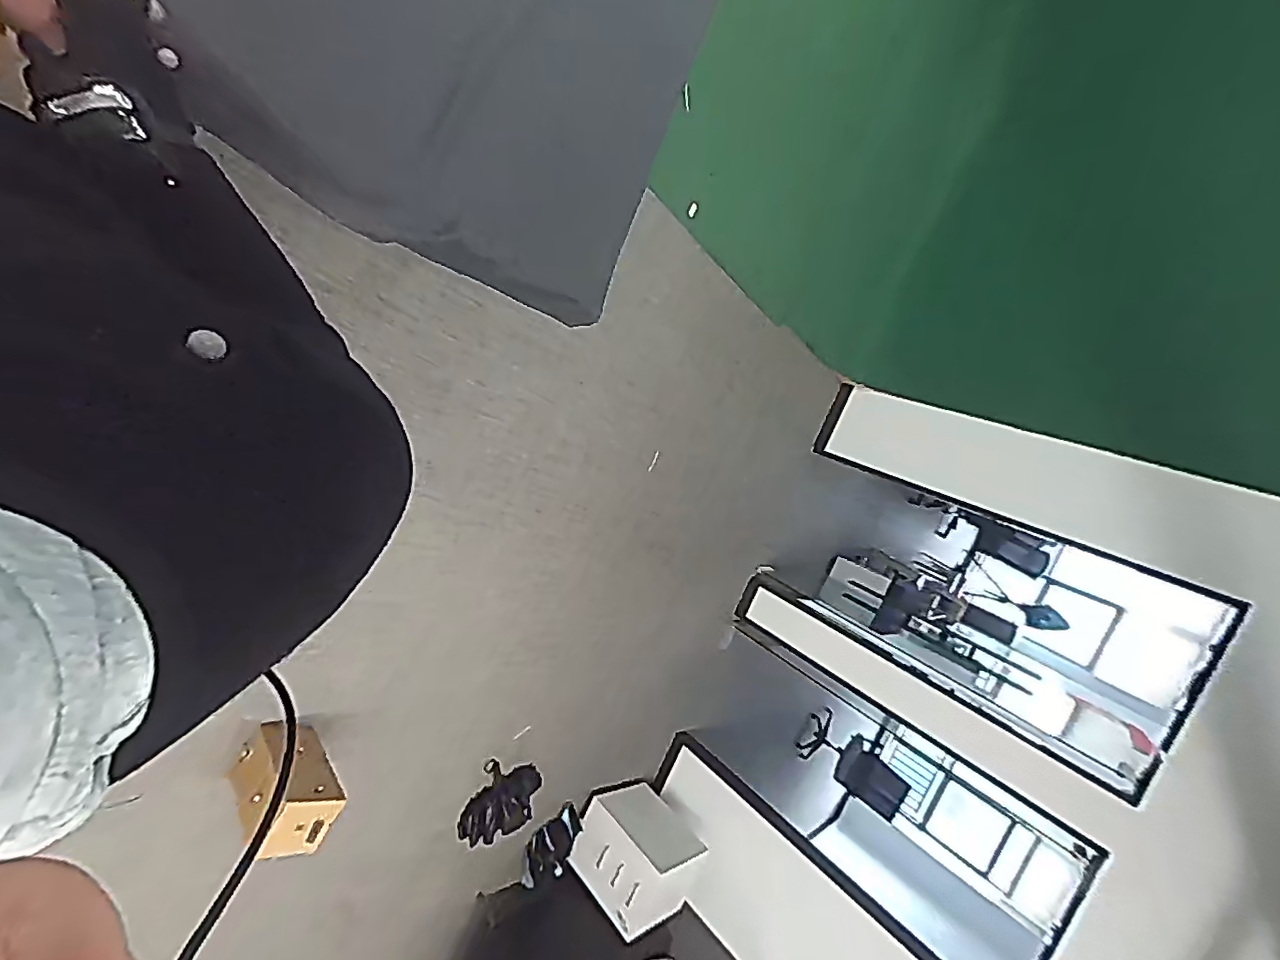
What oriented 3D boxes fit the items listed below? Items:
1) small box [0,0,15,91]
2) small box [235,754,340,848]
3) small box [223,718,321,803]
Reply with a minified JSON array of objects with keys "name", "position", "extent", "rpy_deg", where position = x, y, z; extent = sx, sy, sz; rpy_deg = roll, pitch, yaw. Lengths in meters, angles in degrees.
[{"name":"small box","position":[-0.433,-0.335,0.254],"extent":[0.168,0.176,0.179],"rpy_deg":[-10,139,-43]},{"name":"small box","position":[-1.018,0.916,1.560],"extent":[0.168,0.176,0.179],"rpy_deg":[-59,141,-6]},{"name":"small box","position":[-1.132,0.856,1.662],"extent":[0.179,0.176,0.168],"rpy_deg":[36,82,-50]}]
